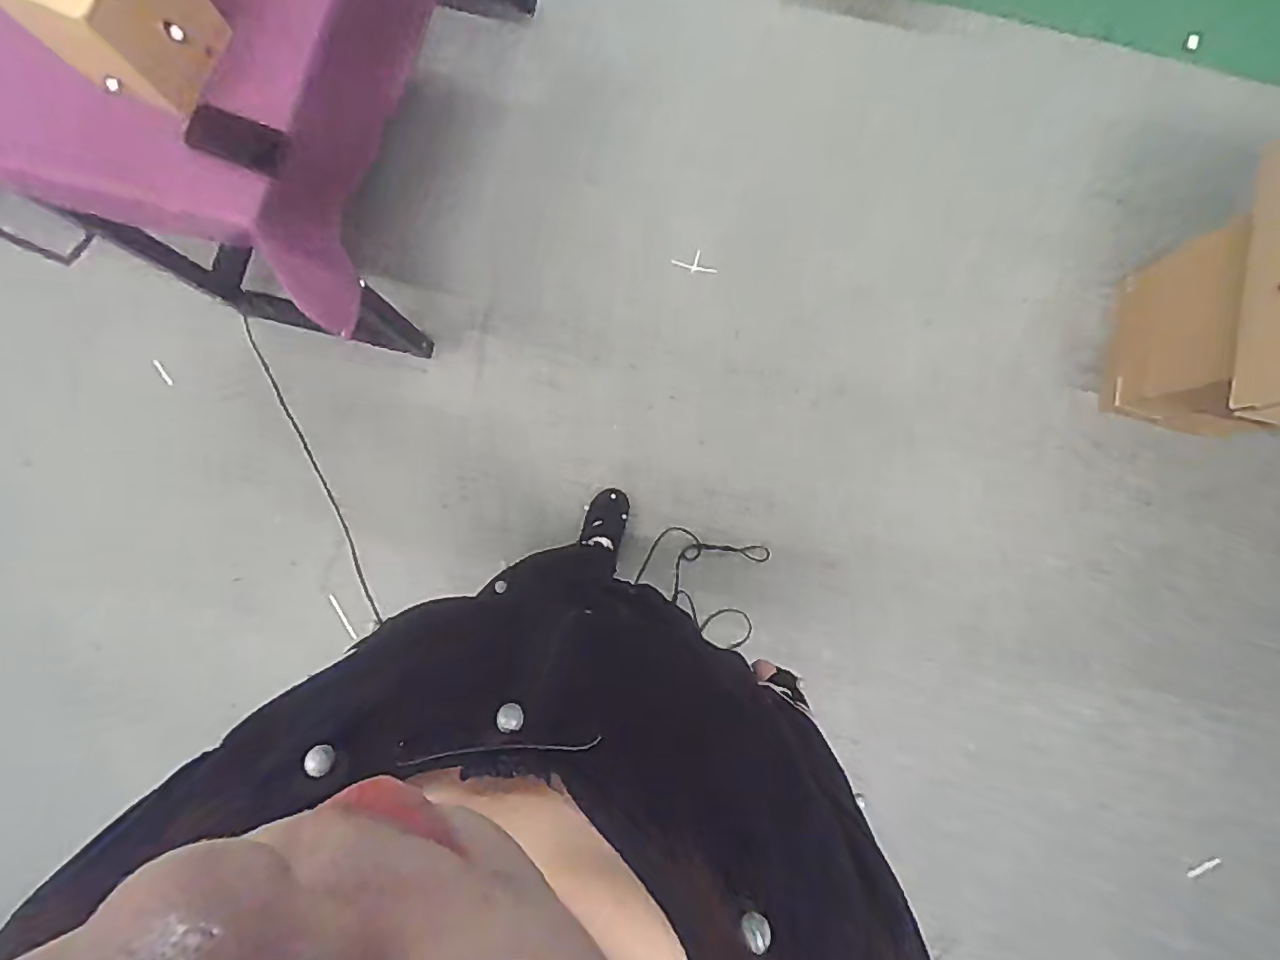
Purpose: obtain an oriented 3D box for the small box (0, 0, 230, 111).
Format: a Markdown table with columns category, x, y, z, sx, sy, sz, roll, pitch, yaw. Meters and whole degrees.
| category | x | y | z | sx | sy | sz | roll | pitch | yaw |
| --- | --- | --- | --- | --- | --- | --- | --- | --- | --- |
| small box | -0.751 | -0.681 | 0.777 | 0.179 | 0.176 | 0.168 | 22 | 85 | 2 |
